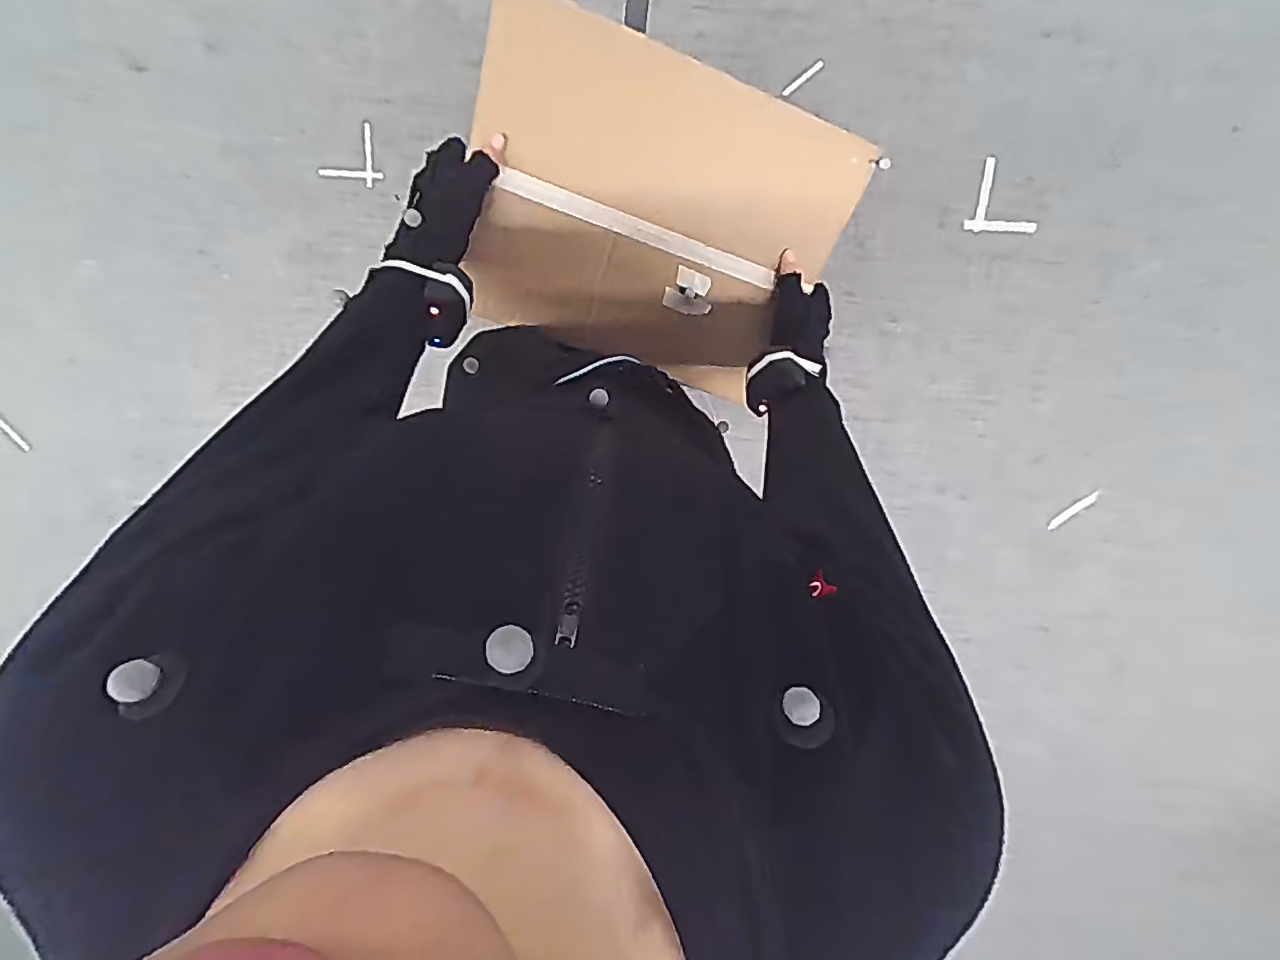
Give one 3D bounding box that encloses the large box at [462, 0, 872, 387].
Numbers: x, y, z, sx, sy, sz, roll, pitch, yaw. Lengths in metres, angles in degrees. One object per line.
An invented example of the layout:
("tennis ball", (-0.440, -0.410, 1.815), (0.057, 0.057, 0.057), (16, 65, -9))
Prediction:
("large box", (0.009, -0.374, 0.739), (0.408, 0.320, 0.320), (15, 123, -12))
